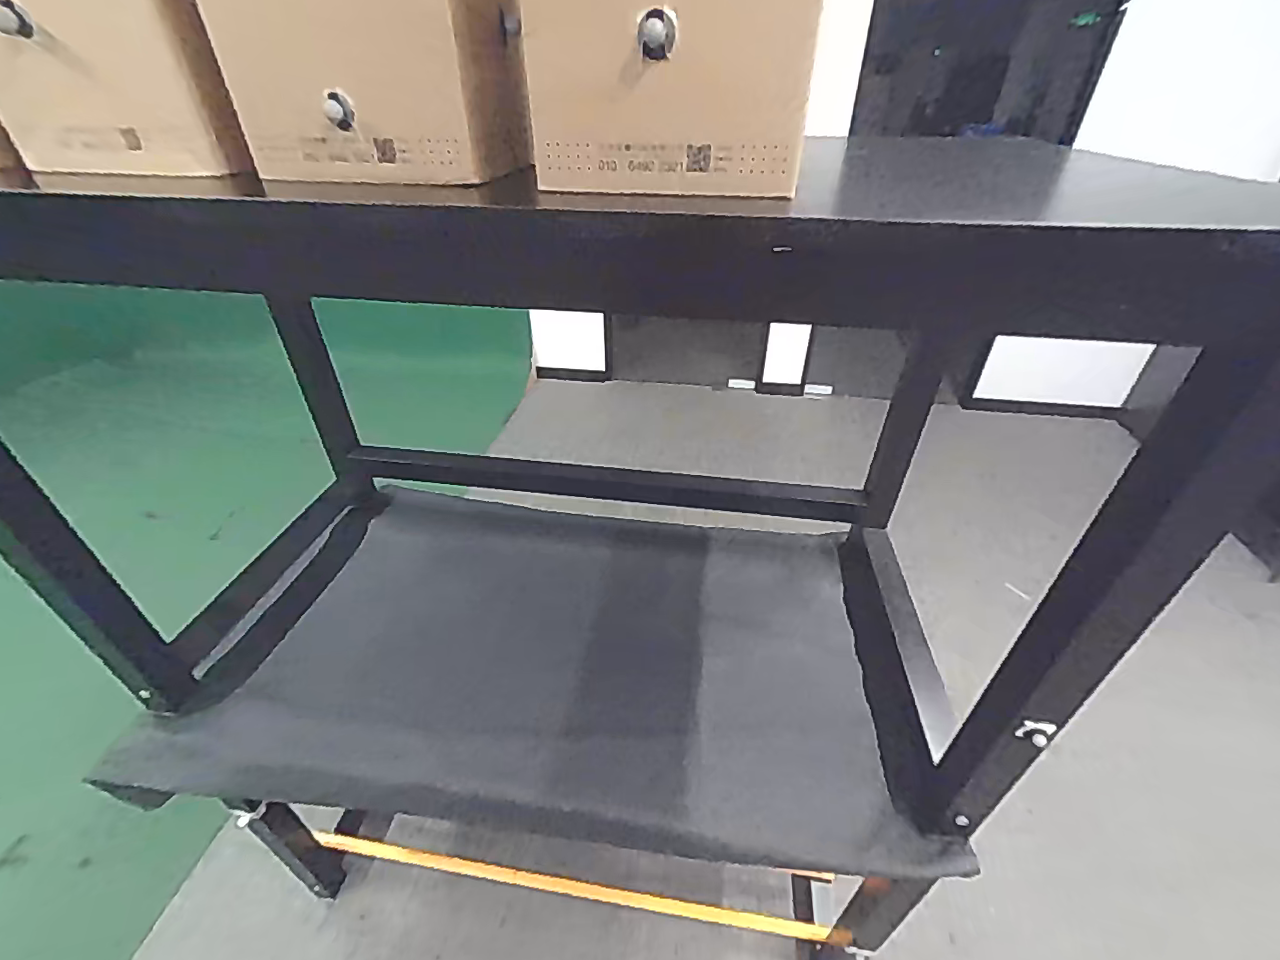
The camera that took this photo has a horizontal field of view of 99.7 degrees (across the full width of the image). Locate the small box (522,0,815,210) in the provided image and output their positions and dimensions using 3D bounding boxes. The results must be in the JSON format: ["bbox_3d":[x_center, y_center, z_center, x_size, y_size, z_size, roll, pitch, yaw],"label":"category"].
[{"bbox_3d":[0.025,-0.291,0.371,0.168,0.176,0.179,5,36,6],"label":"small box"}]

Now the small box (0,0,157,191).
[{"bbox_3d":[-0.572,-0.355,0.458,0.168,0.176,0.179,4,37,6],"label":"small box"}]
